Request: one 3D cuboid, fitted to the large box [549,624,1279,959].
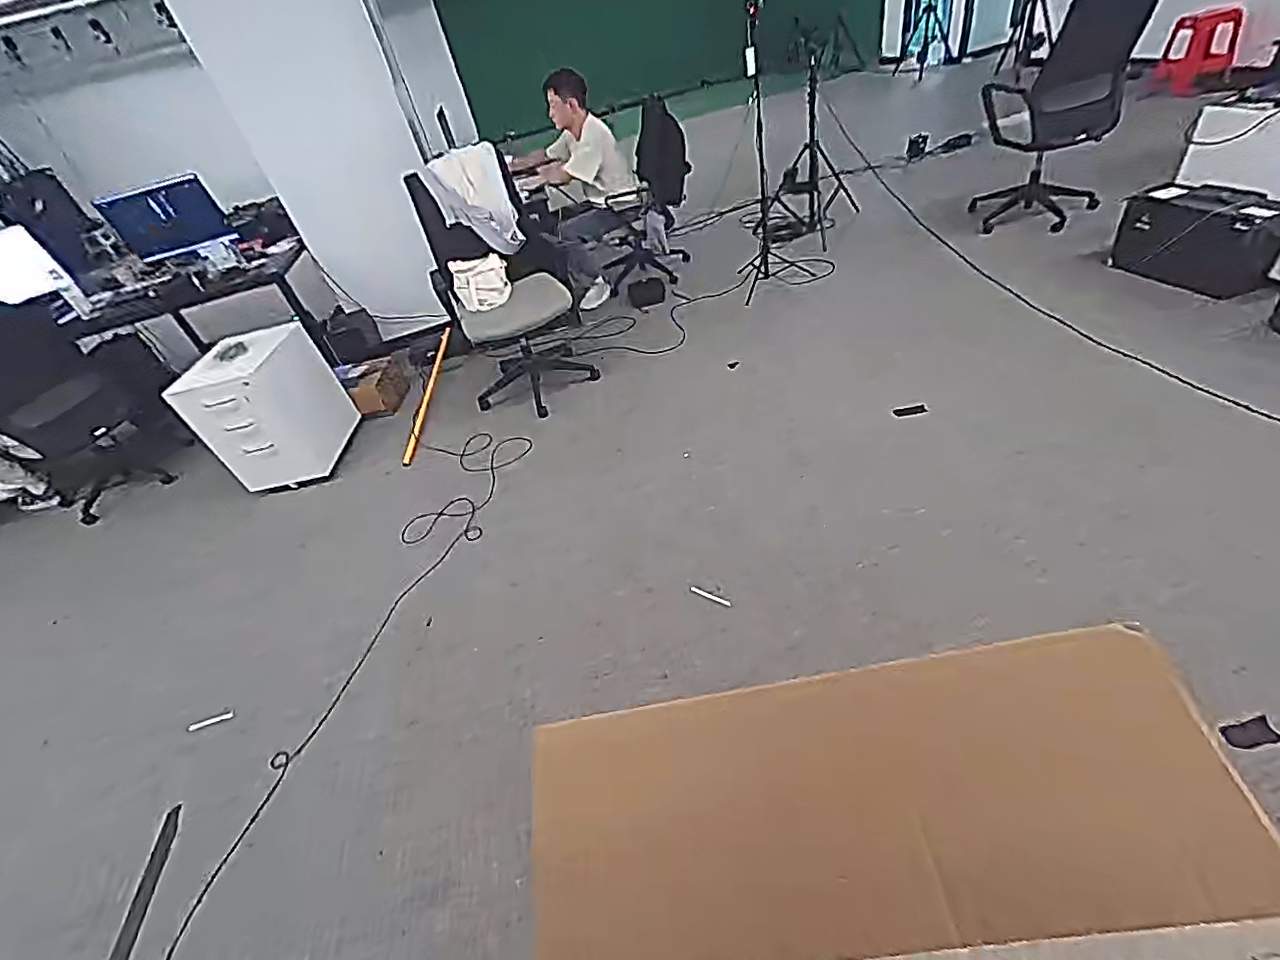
[{"bbox_3d":[0.176,0.342,0.419,0.408,0.320,0.320,-13,58,8],"label":"large box"}]
